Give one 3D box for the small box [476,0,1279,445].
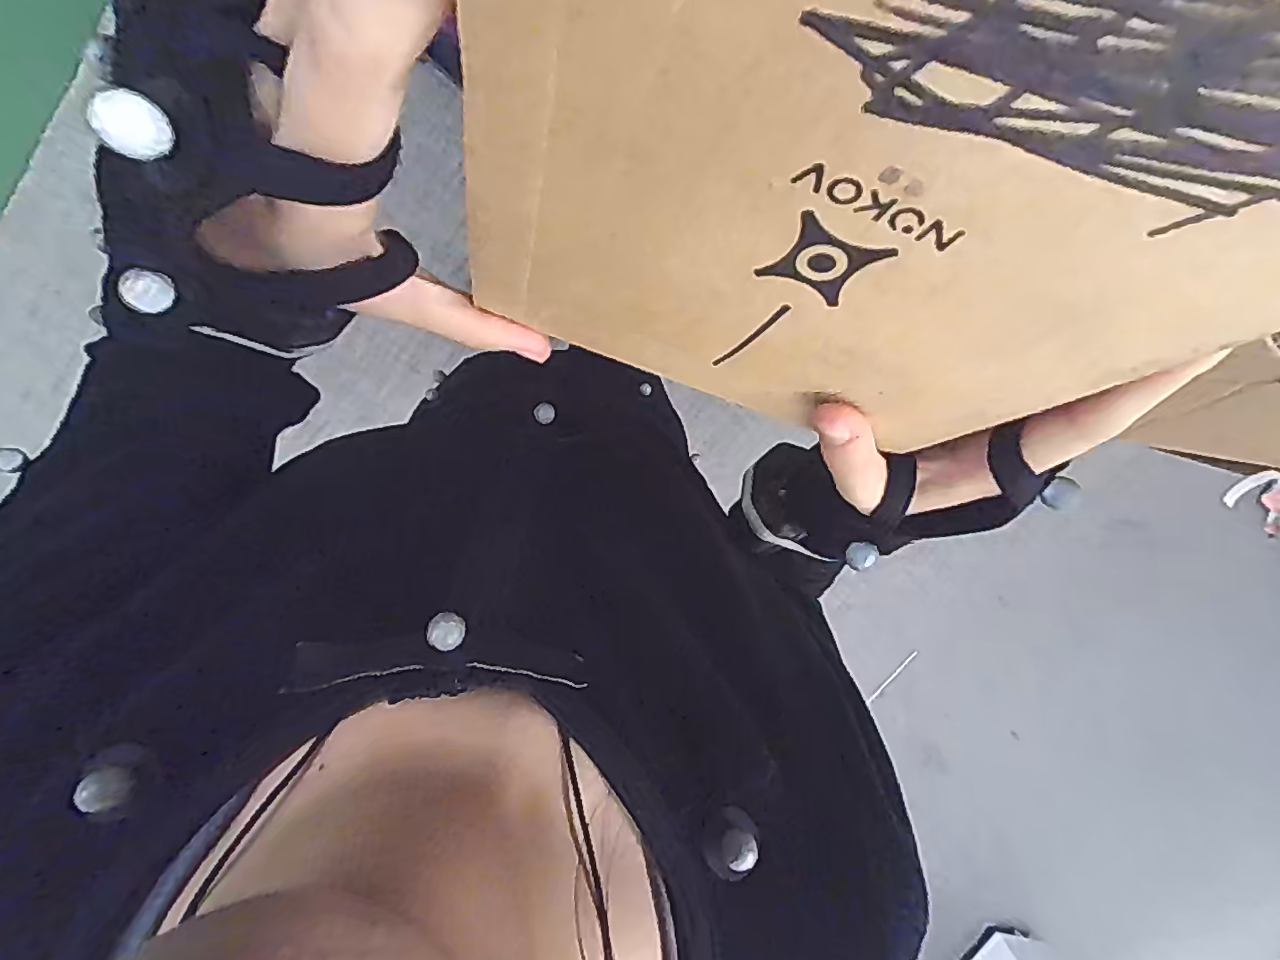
[{"bbox_3d":[0.063,-0.130,0.142,0.168,0.179,0.176,17,75,-11],"label":"small box"}]
